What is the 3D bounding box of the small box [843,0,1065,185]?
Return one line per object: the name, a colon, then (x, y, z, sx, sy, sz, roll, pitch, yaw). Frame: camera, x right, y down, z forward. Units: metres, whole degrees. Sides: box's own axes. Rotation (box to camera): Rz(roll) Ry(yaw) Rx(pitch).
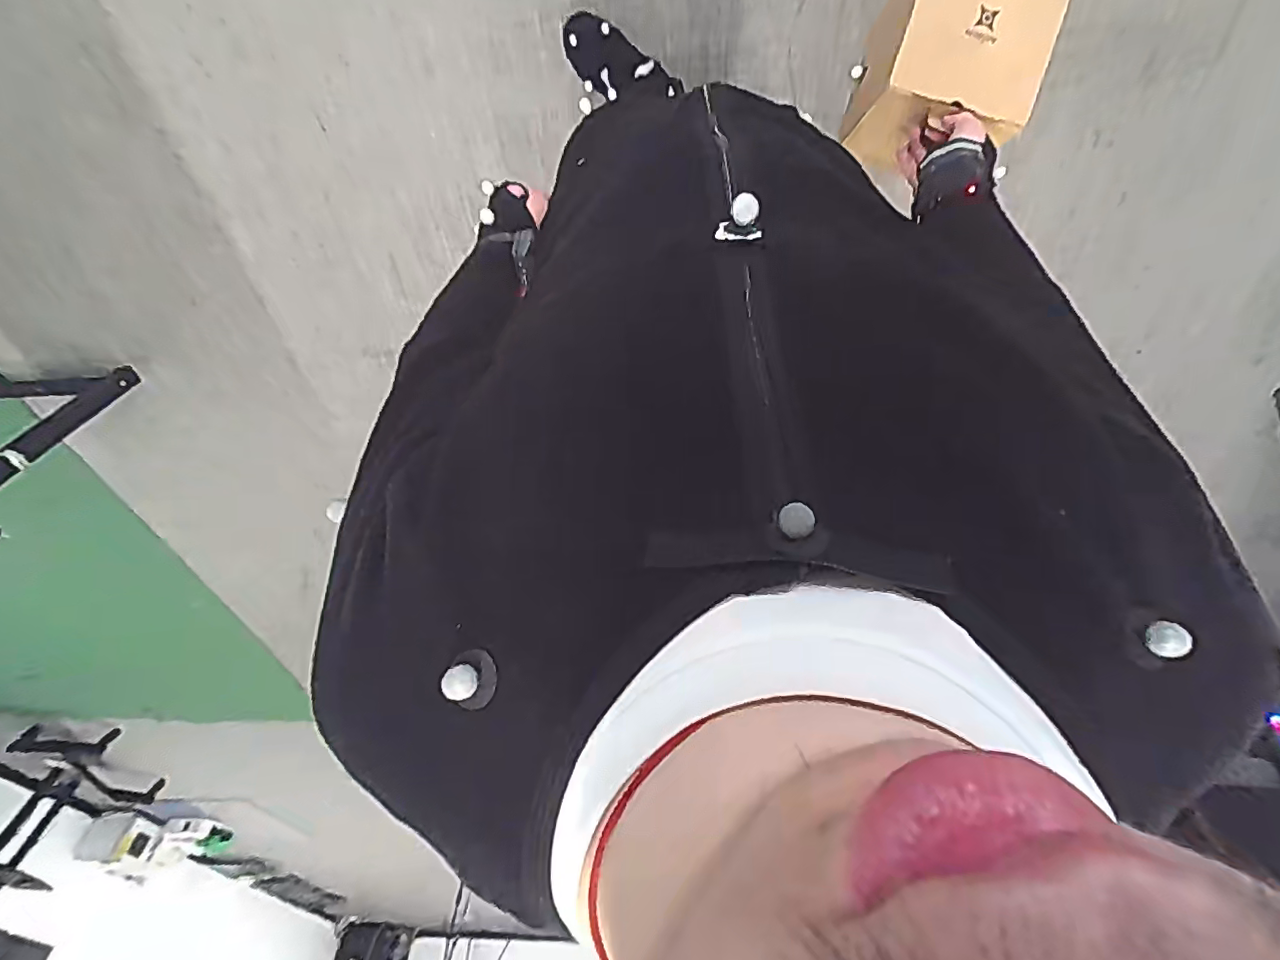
small box: (0.376, -0.504, 0.679, 0.168, 0.176, 0.179, 13, 96, -1)
